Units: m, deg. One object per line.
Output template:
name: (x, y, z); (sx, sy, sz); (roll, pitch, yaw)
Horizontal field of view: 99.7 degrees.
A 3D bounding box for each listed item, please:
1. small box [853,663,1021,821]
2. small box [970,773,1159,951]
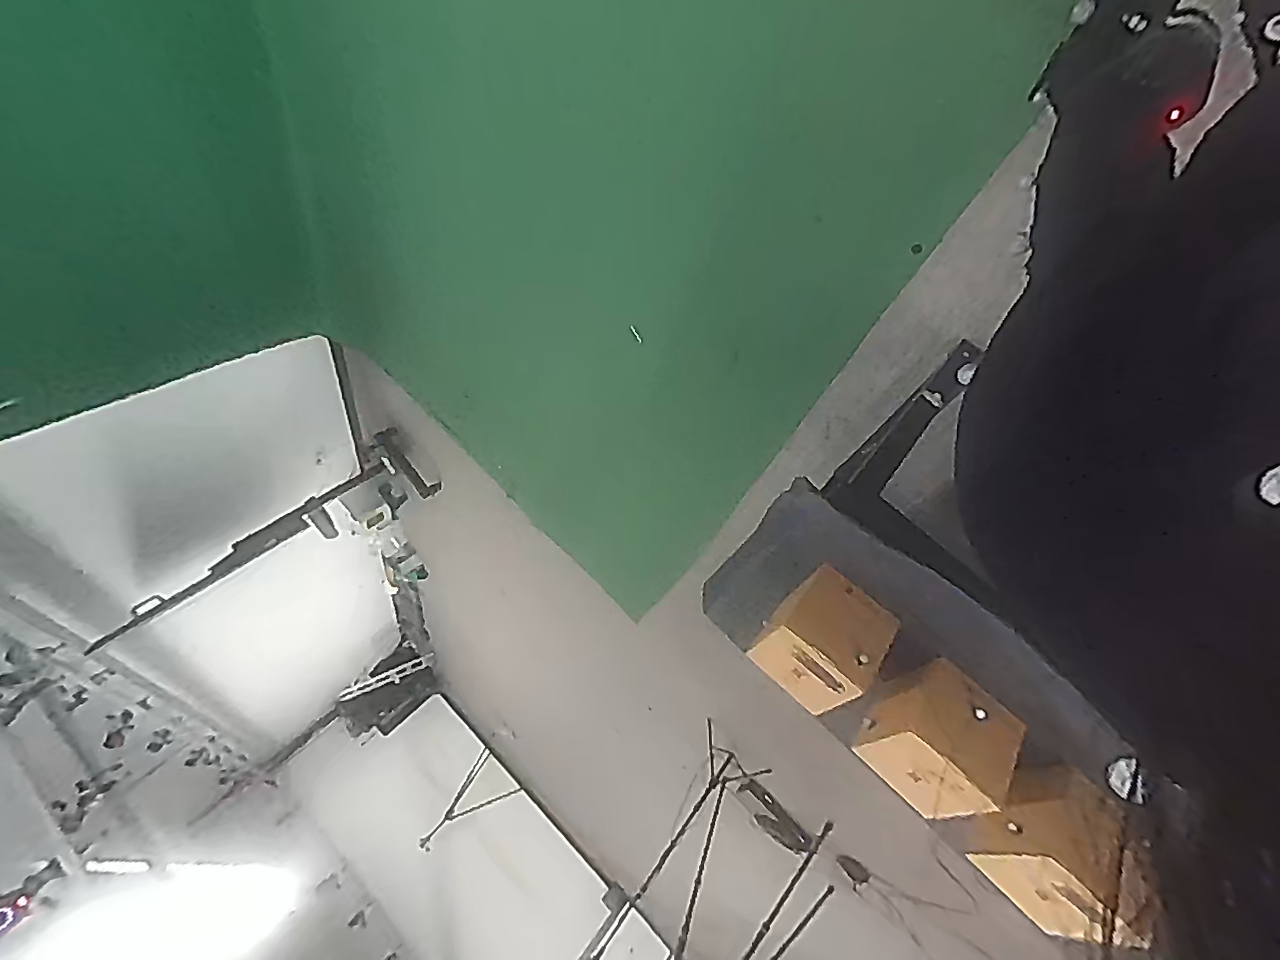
small box: (0.515, 0.452, 0.938); (0.168, 0.176, 0.179); (41, 143, 13)
small box: (0.691, 0.610, 0.884); (0.168, 0.176, 0.179); (43, 144, 12)
